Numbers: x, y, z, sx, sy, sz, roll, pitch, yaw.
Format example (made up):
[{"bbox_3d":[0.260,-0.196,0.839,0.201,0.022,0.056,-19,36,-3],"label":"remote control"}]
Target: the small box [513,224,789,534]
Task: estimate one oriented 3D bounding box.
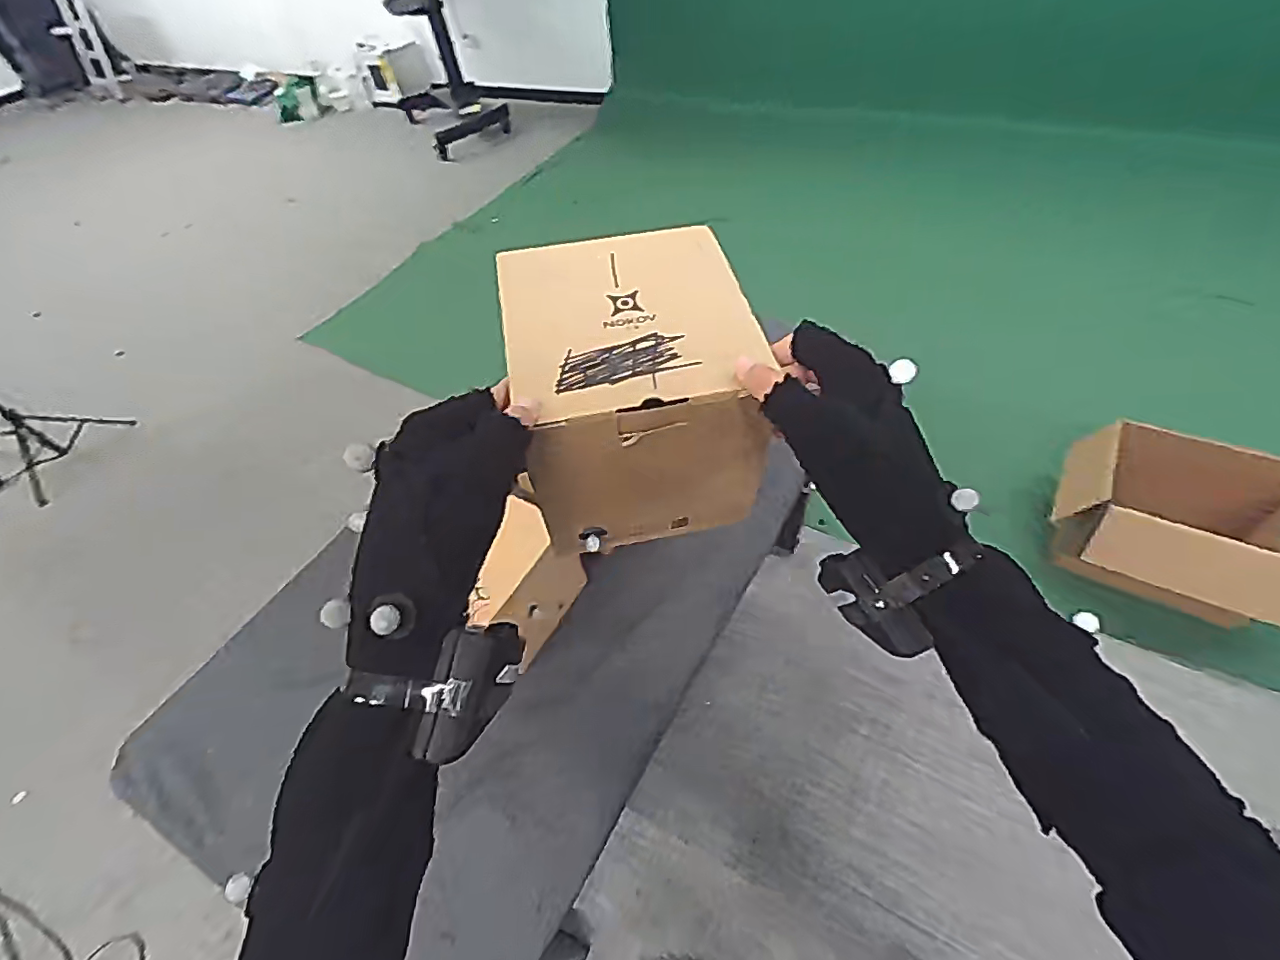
[{"bbox_3d":[0.000,-0.071,0.431,0.168,0.176,0.179,-9,55,-5],"label":"small box"}]
